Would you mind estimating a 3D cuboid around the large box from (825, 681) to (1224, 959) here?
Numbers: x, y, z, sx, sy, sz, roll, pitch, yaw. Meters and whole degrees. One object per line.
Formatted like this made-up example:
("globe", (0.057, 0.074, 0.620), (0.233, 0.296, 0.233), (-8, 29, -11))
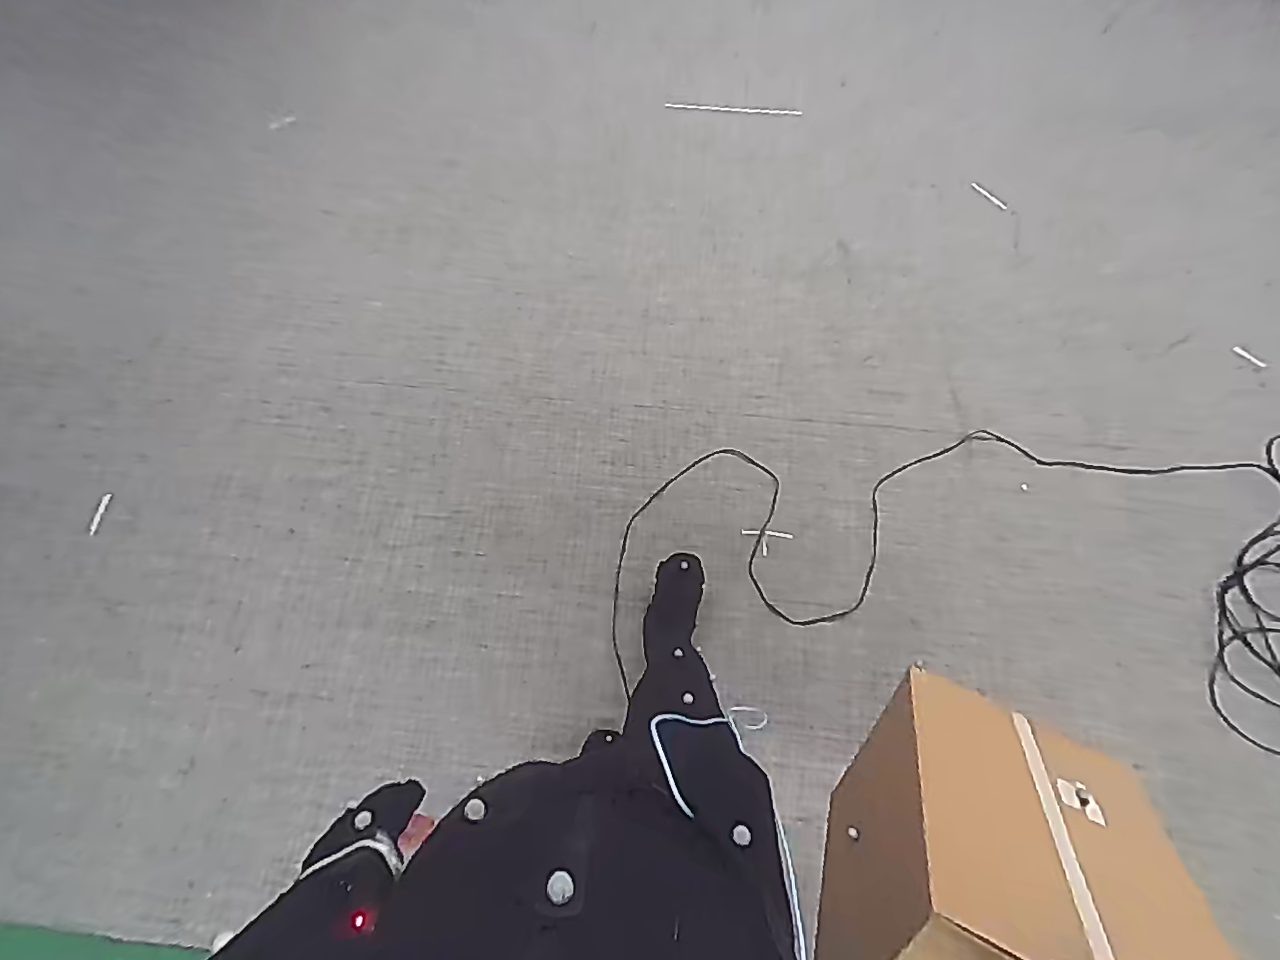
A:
("large box", (0.444, 0.557, 0.694), (0.320, 0.408, 0.320), (24, 113, 15))
